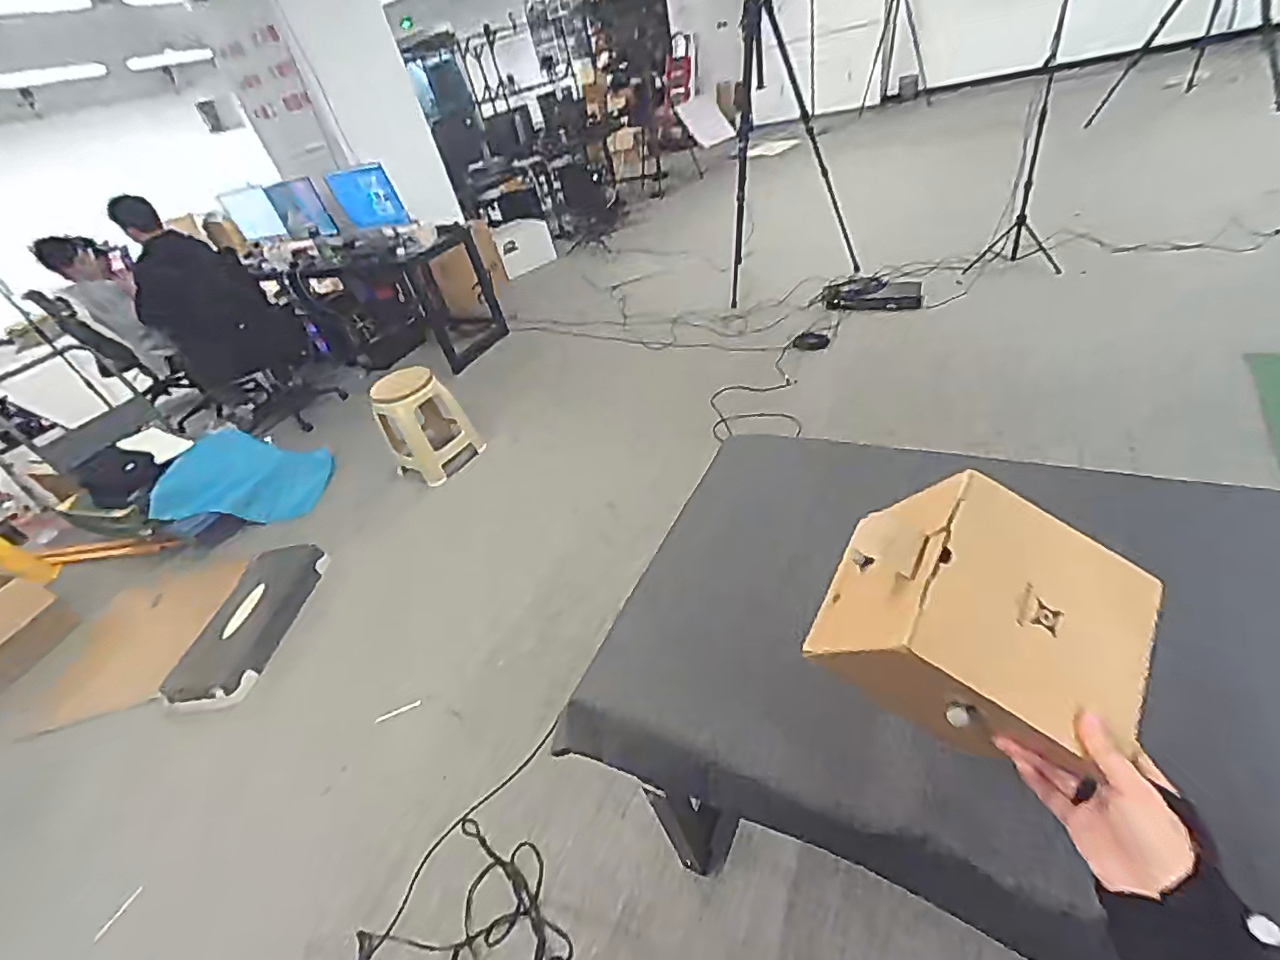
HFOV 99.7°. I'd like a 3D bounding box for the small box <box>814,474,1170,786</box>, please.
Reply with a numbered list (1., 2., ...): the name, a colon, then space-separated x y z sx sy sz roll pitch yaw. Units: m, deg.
1. small box: 0.290 0.127 0.474 0.179 0.176 0.168 32 68 2
